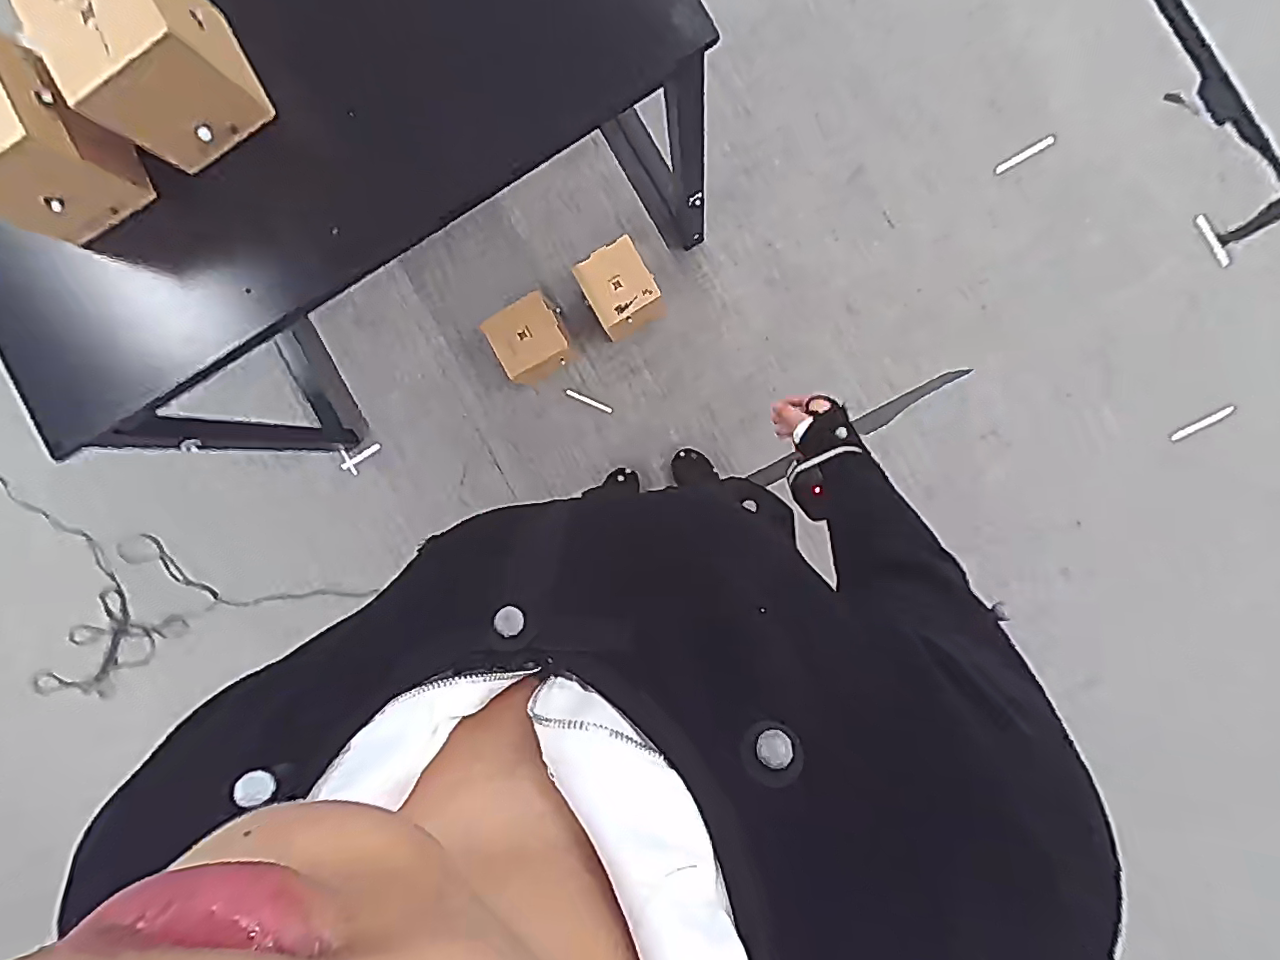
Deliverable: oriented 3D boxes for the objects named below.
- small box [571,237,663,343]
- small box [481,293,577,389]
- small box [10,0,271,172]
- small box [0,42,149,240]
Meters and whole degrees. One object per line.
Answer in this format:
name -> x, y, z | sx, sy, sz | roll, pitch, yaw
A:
small box -> -0.053, -0.484, 1.406 | 0.168, 0.176, 0.179 | -30, 88, 7
small box -> -0.283, -0.362, 1.439 | 0.179, 0.176, 0.168 | -29, 88, 7
small box -> -0.664, -0.572, 0.738 | 0.168, 0.176, 0.179 | -30, 90, 6
small box -> -0.862, -0.469, 0.763 | 0.168, 0.176, 0.179 | -26, 89, 6
